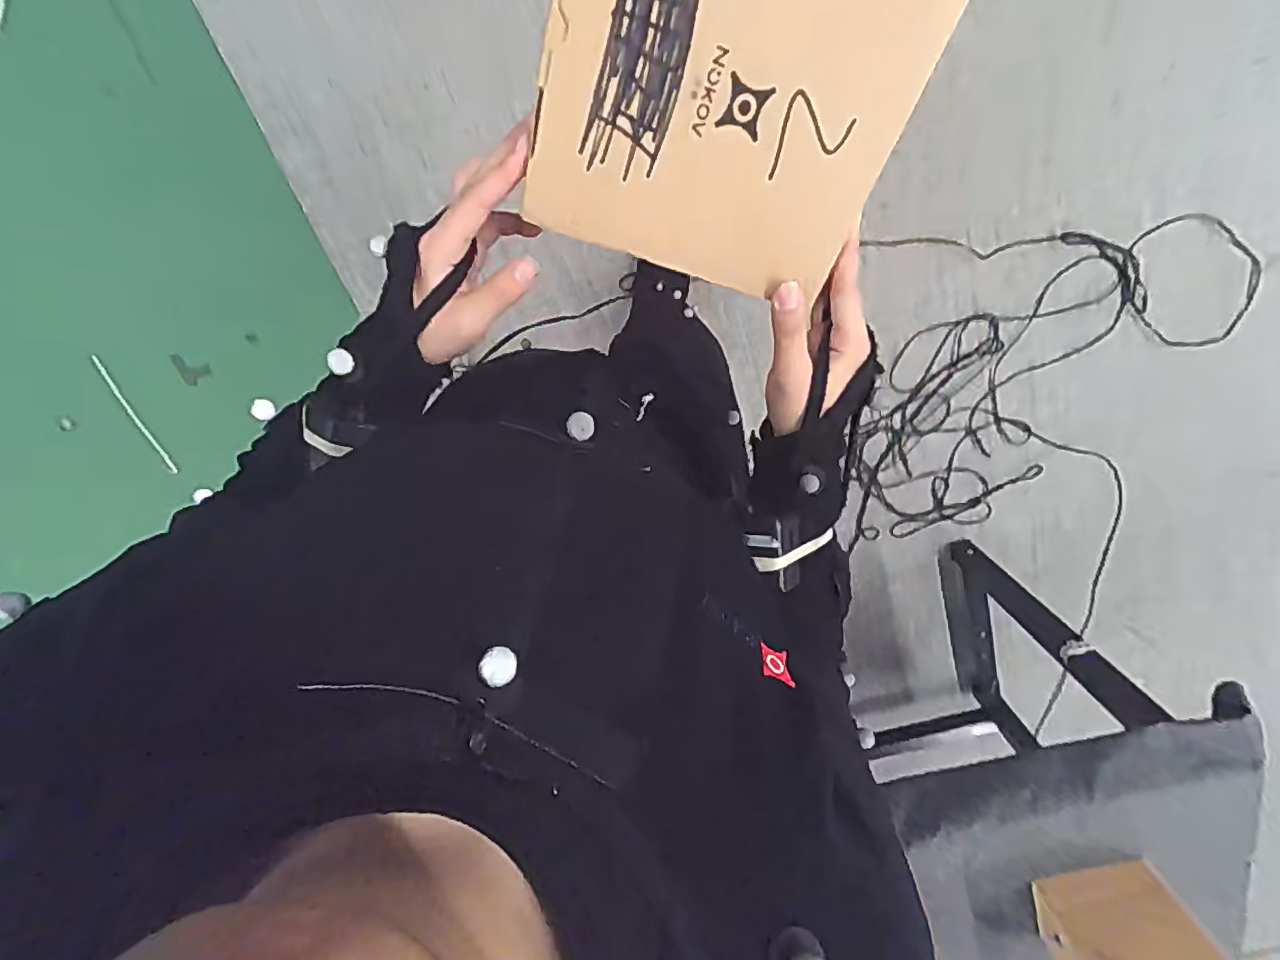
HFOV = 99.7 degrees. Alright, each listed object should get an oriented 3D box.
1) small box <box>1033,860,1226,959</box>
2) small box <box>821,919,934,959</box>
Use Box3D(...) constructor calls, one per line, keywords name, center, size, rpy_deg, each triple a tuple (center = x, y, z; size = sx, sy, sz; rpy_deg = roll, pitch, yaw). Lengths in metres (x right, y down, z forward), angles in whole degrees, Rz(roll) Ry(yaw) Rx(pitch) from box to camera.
Box3D(name="small box", center=(0.744, 0.716, 0.819), size=(0.179, 0.176, 0.168), rpy_deg=(-19, 112, 9))
Box3D(name="small box", center=(0.406, 0.850, 0.878), size=(0.168, 0.176, 0.179), rpy_deg=(-14, 113, 7))
